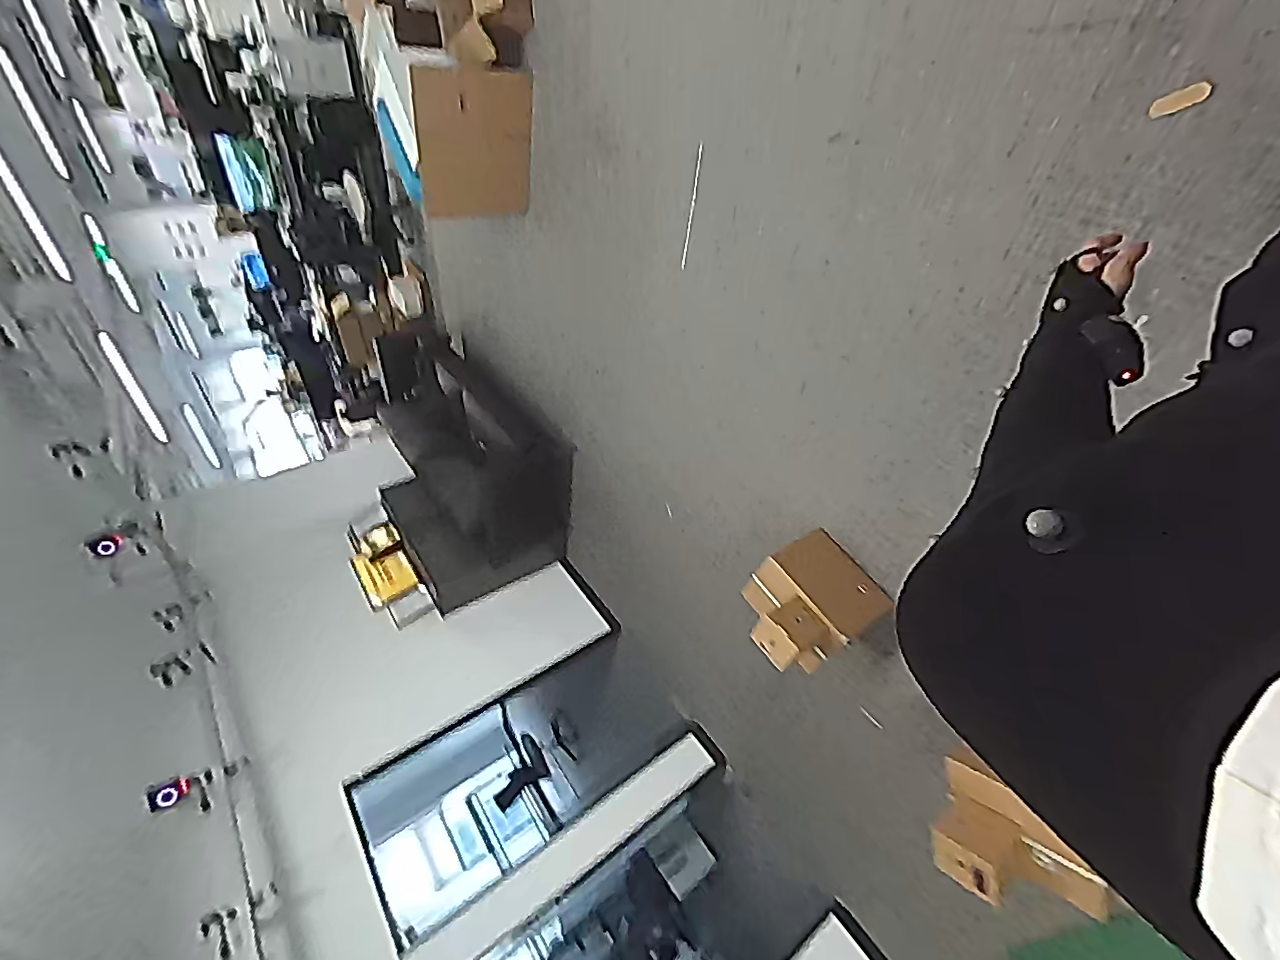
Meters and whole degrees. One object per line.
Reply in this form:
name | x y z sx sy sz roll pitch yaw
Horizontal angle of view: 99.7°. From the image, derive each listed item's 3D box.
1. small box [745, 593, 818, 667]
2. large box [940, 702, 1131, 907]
small box | 0.526 0.548 1.993 0.168 0.176 0.179 49 143 28
large box | 1.222 0.972 1.686 0.408 0.320 0.320 9 118 53
